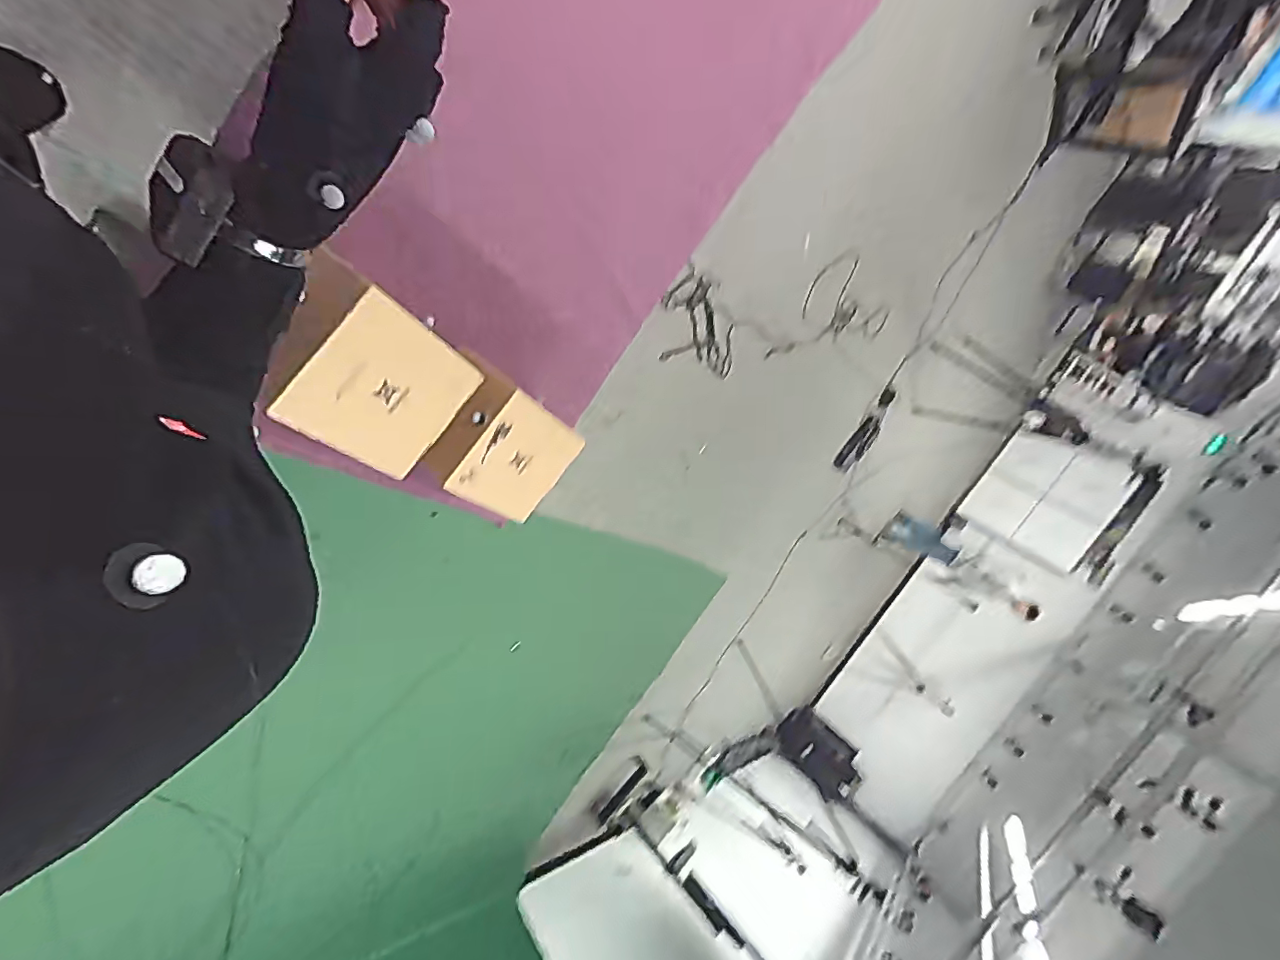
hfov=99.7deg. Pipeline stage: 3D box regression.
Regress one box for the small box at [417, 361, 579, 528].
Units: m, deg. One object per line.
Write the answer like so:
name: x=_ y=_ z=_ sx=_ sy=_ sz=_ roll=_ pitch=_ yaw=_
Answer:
small box: x=-0.234 y=-0.056 z=0.835 sx=0.168 sy=0.176 sz=0.179 roll=-52 pitch=147 yaw=-1

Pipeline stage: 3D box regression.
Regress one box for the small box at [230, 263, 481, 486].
small box: x=-0.336 y=-0.127 z=0.649 sx=0.168 sy=0.176 sz=0.179 roll=-52 pitch=146 yaw=-4
